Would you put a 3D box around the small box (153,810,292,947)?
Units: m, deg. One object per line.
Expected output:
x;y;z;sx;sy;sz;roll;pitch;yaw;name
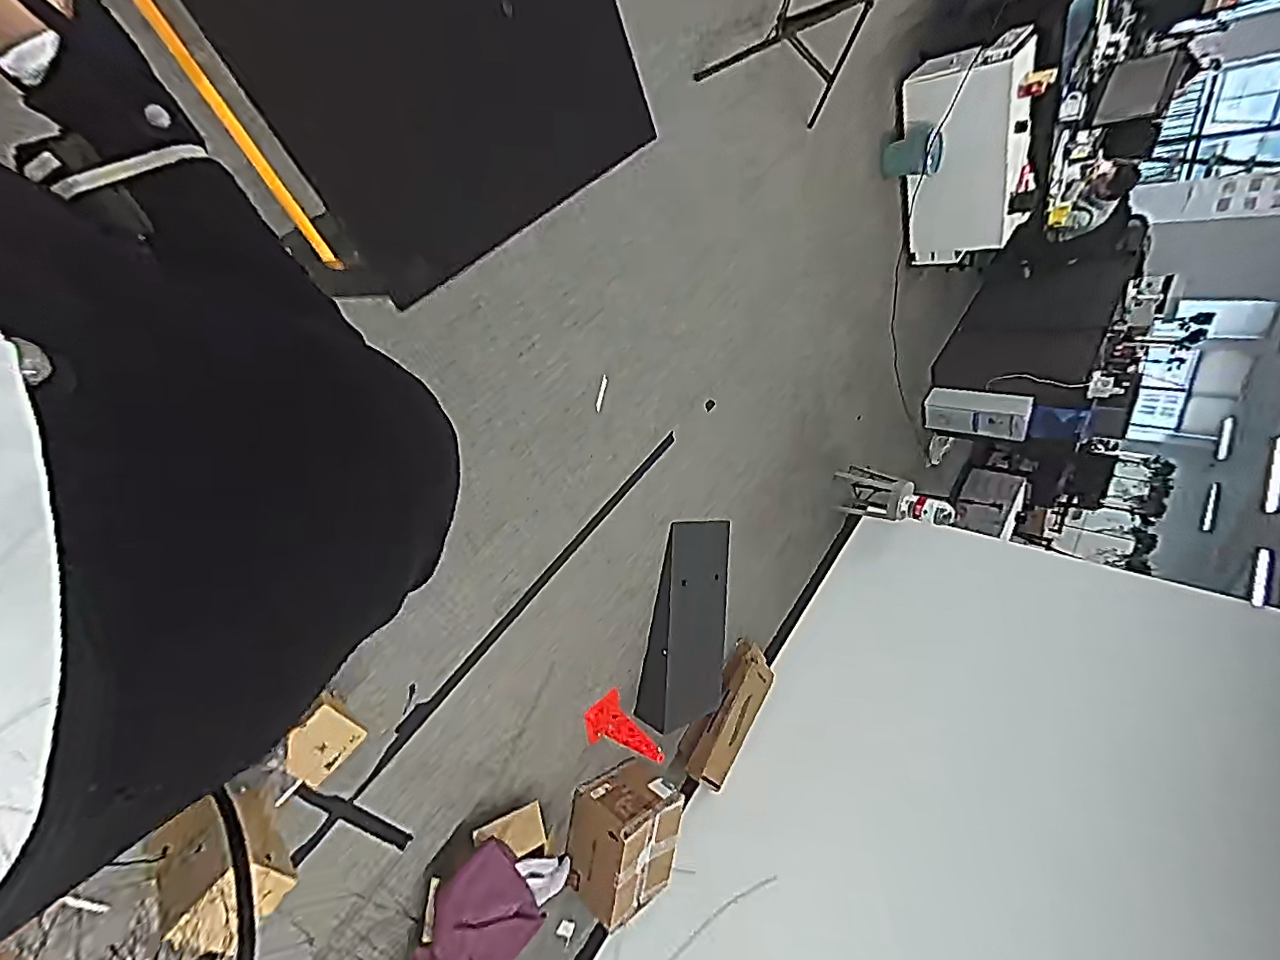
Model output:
-0.935;0.887;1.214;0.168;0.176;0.179;-48;132;-27;small box

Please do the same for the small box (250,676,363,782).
-0.887;0.649;1.434;0.168;0.176;0.179;-47;132;-27;small box

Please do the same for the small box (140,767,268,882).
-1.059;0.844;1.311;0.179;0.176;0.168;-49;134;-25;small box
